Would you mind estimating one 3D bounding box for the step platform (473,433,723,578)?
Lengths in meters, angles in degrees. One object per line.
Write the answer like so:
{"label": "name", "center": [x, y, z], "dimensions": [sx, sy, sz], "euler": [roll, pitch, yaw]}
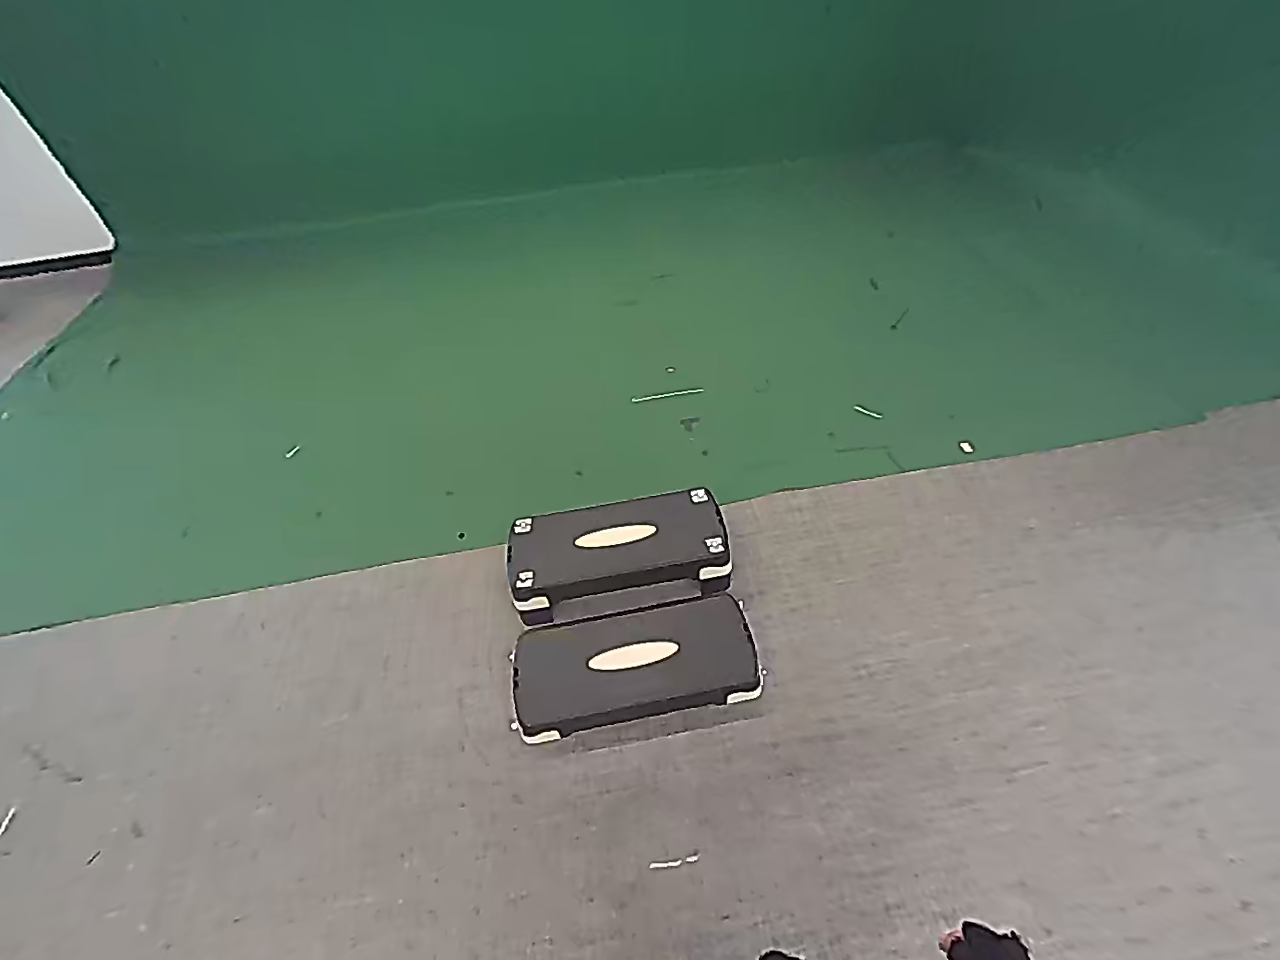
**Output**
{"label": "step platform", "center": [-0.113, 0.071, 1.559], "dimensions": [0.684, 0.204, 0.286], "euler": [-10, 48, -3]}
